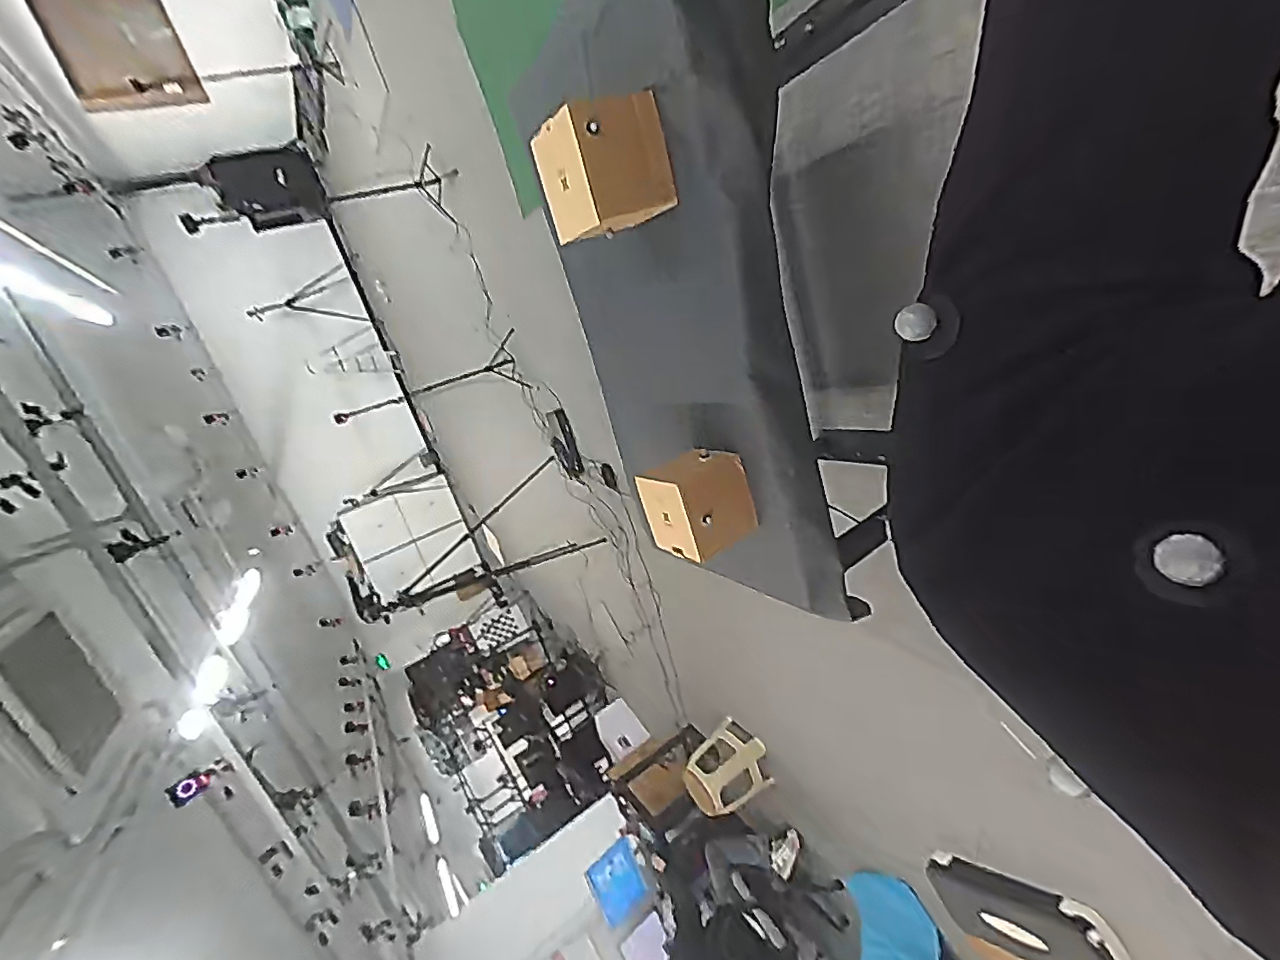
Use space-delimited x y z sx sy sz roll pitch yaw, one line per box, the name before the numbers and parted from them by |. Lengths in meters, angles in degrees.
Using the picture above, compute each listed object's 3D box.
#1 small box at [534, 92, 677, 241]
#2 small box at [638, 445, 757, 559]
small box | -0.057 -0.544 0.948 0.168 0.176 0.179 17 129 58
small box | 0.125 0.039 1.148 0.168 0.176 0.179 10 121 59
